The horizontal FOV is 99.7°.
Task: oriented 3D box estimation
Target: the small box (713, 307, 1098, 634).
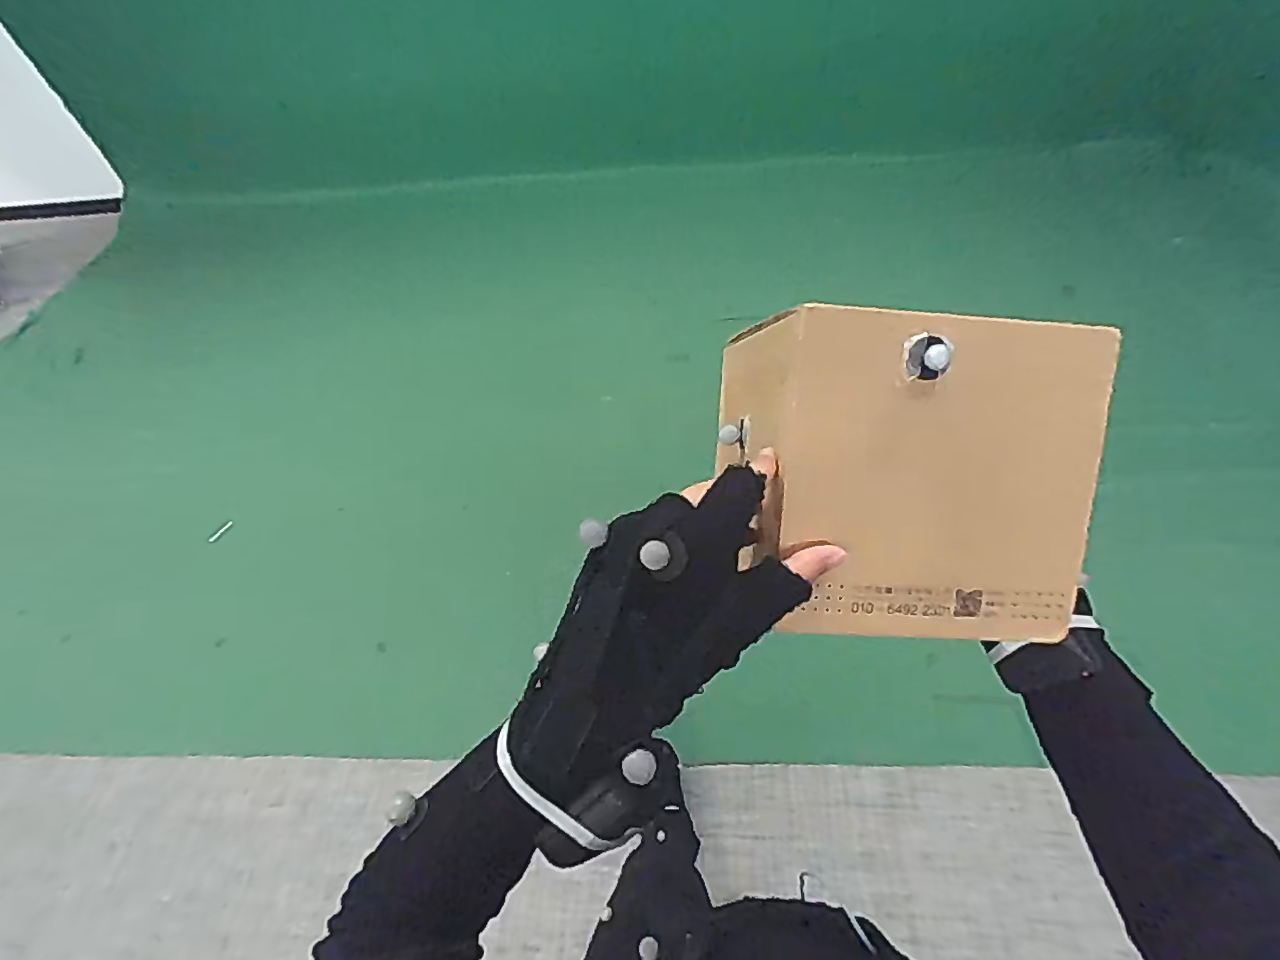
[{"bbox_3d":[0.150,-0.010,0.370,0.168,0.179,0.176,3,97,-4],"label":"small box"}]
